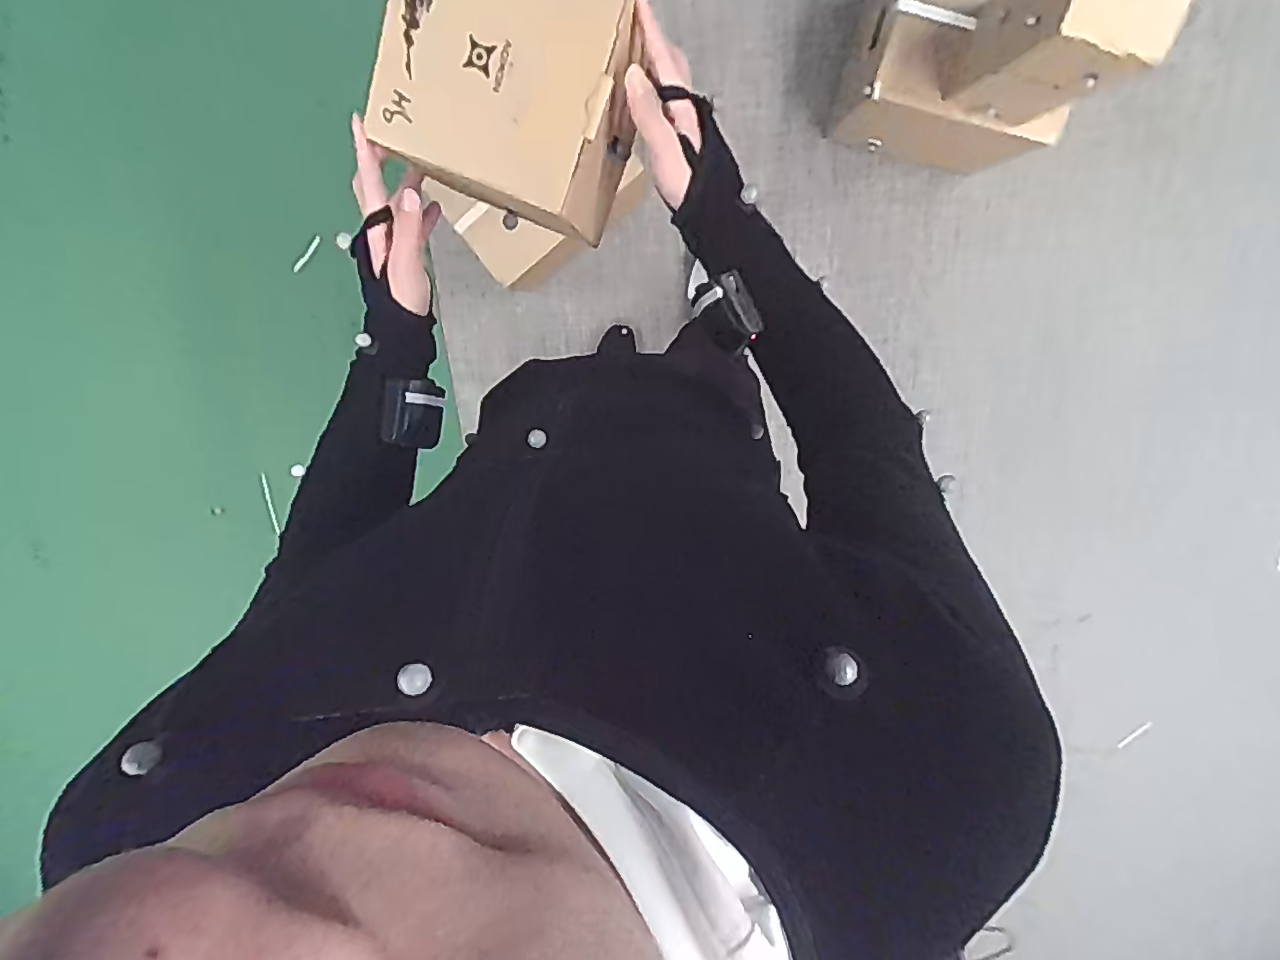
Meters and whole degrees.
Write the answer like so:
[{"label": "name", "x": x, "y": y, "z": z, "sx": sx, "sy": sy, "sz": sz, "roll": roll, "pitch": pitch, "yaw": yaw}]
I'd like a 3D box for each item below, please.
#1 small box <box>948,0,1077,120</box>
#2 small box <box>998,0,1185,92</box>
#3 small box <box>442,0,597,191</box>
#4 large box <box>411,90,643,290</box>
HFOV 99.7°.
[{"label": "small box", "x": 0.703, "y": -0.795, "z": 0.982, "sx": 0.168, "sy": 0.176, "sz": 0.179, "roll": 15, "pitch": 110, "yaw": -4}, {"label": "small box", "x": 0.697, "y": -0.737, "z": 0.830, "sx": 0.168, "sy": 0.176, "sz": 0.179, "roll": 13, "pitch": 109, "yaw": -4}, {"label": "small box", "x": -0.181, "y": -0.608, "z": 0.883, "sx": 0.179, "sy": 0.176, "sz": 0.168, "roll": -32, "pitch": 105, "yaw": 11}, {"label": "large box", "x": -0.239, "y": -0.707, "z": 1.284, "sx": 0.408, "sy": 0.320, "sz": 0.320, "roll": -36, "pitch": 103, "yaw": 13}]
